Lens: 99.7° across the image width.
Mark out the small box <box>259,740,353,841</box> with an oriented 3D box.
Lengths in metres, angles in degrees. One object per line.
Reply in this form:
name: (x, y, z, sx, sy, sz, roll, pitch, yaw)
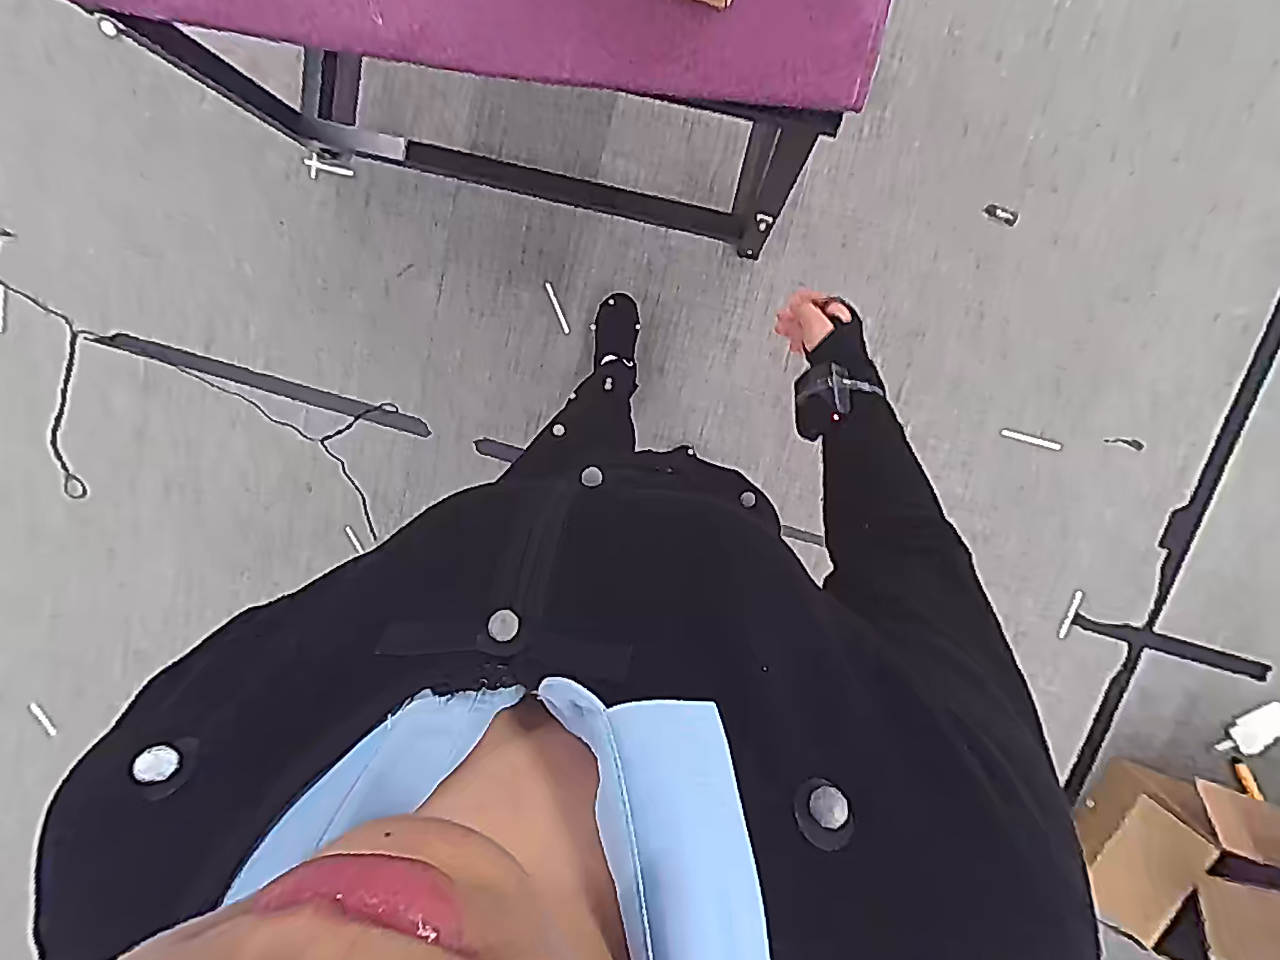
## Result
small box: (-0.973, 0.903, 1.587, 0.168, 0.176, 0.179, 13, 100, 3)
